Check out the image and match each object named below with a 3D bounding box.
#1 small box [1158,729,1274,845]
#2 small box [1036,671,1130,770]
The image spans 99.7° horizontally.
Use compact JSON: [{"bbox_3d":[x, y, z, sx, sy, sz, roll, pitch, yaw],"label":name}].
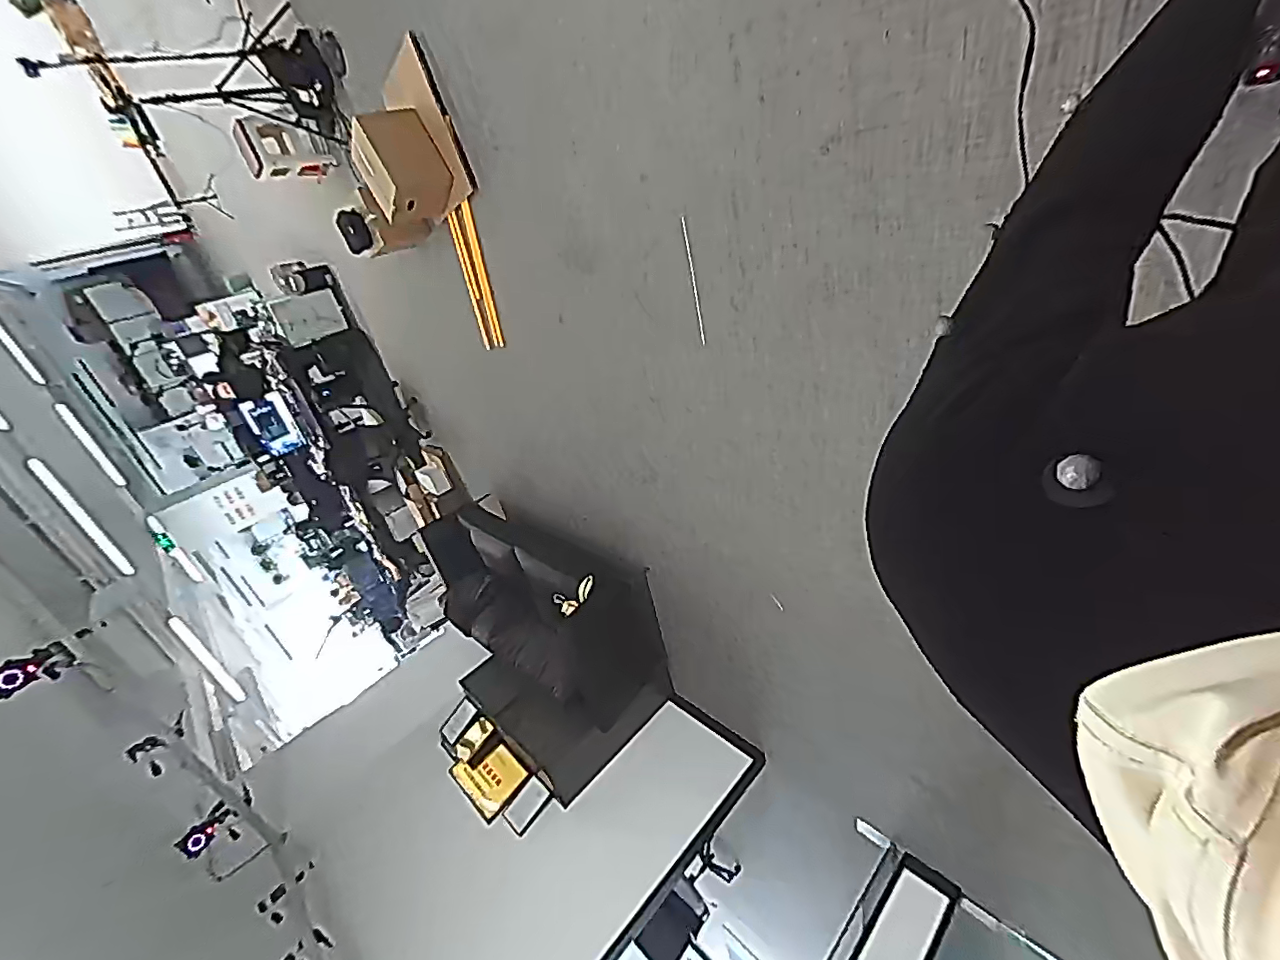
[{"bbox_3d":[1.544,0.816,1.450,0.168,0.176,0.179,23,136,41],"label":"small box"},{"bbox_3d":[1.342,0.724,1.639,0.168,0.176,0.179,24,136,40],"label":"small box"}]
